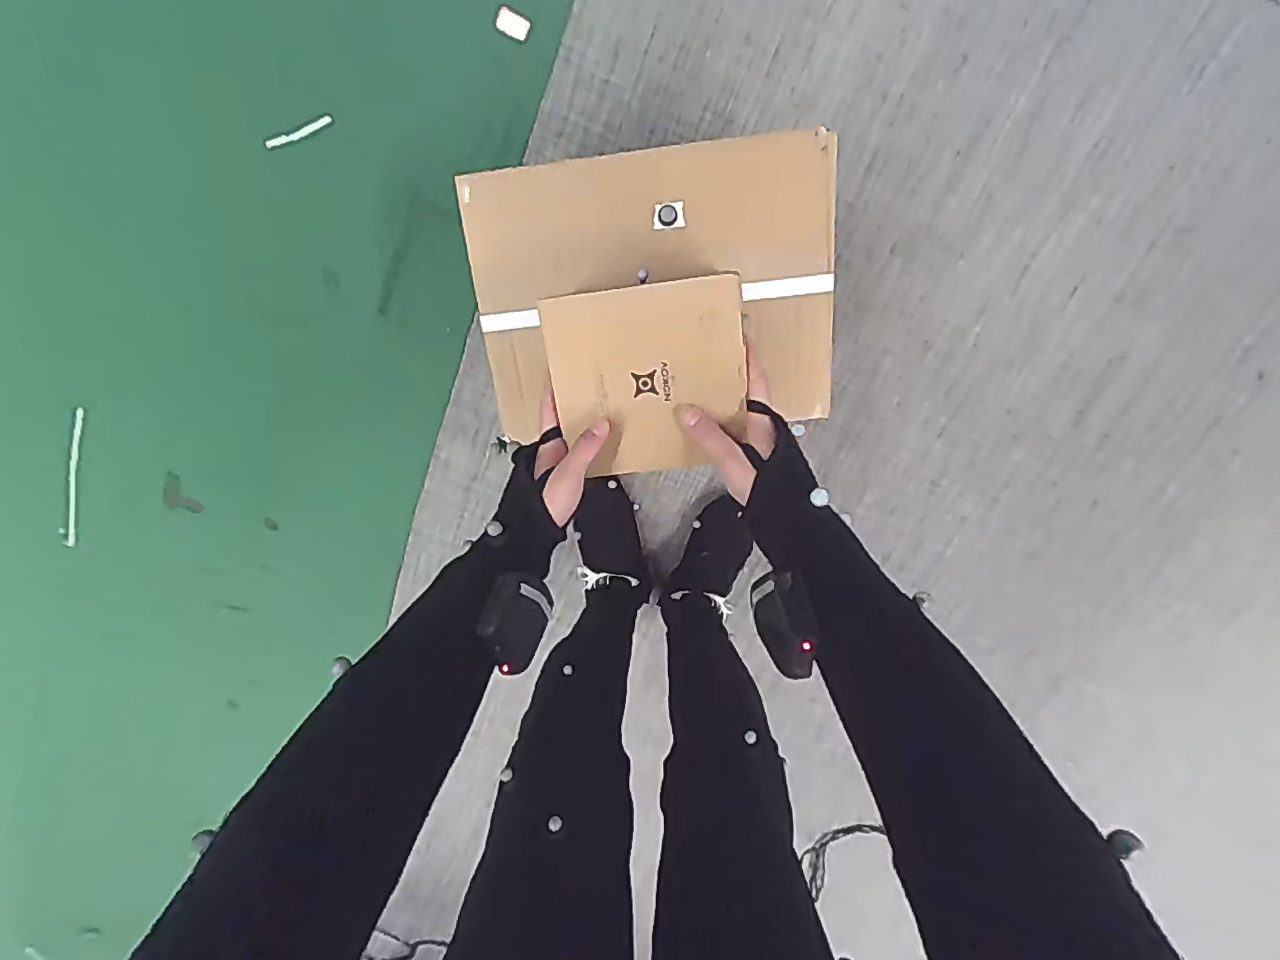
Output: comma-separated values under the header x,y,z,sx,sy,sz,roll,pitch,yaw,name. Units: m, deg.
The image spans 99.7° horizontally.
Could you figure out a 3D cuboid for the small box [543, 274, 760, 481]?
x,y,z,sx,sy,sz,roll,pitch,yaw,name
0.017,-0.111,0.543,0.179,0.176,0.168,-6,110,5,small box
